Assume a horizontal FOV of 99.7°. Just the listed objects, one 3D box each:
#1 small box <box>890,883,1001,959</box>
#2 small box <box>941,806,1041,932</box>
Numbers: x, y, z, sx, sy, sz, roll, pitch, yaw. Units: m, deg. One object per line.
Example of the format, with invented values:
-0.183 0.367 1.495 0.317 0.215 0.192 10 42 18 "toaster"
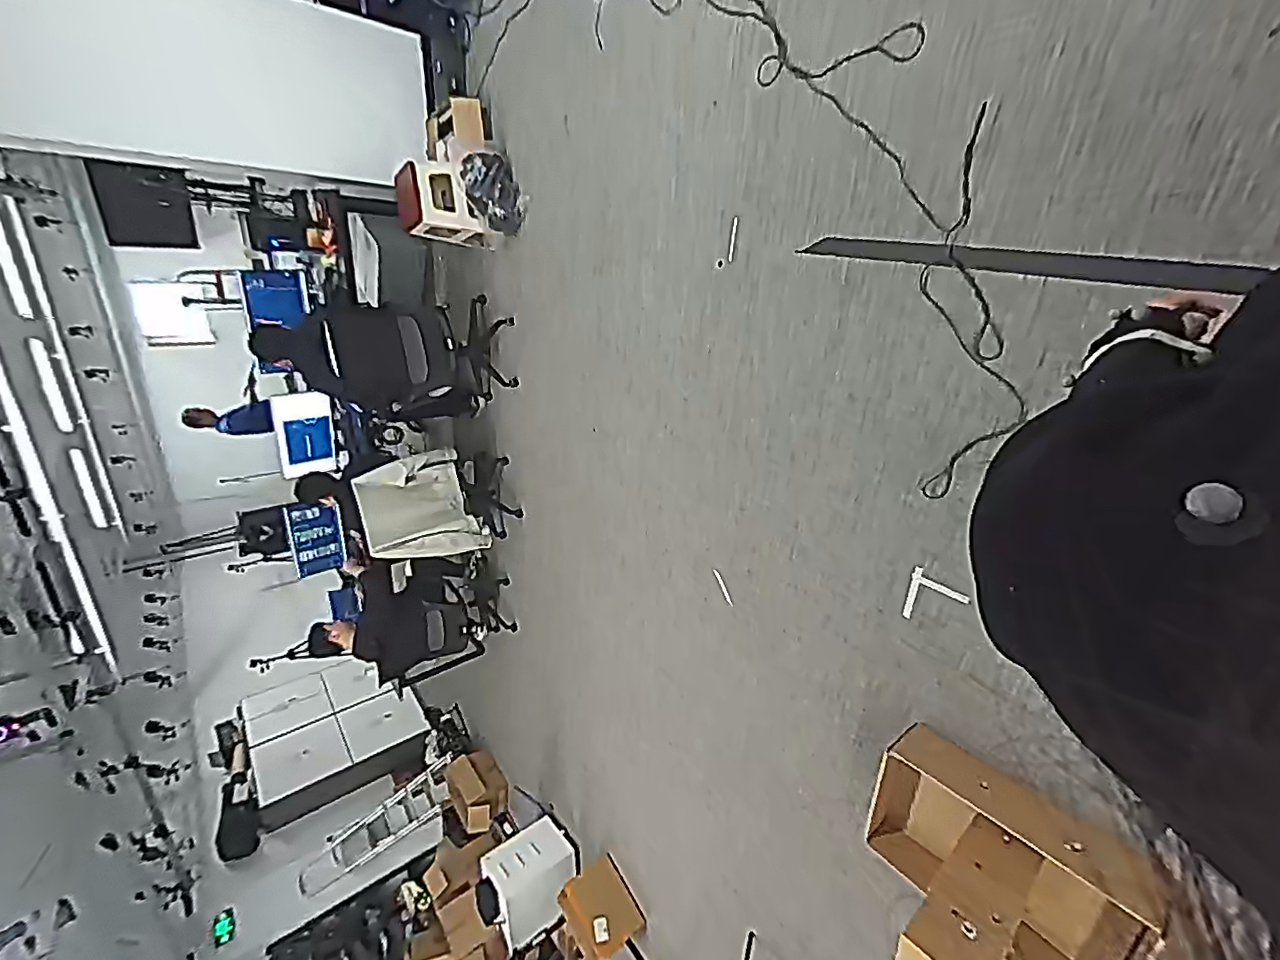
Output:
0.698 1.094 1.240 0.168 0.176 0.179 21 117 46 "small box"
0.942 1.032 1.448 0.168 0.176 0.179 22 118 46 "small box"
